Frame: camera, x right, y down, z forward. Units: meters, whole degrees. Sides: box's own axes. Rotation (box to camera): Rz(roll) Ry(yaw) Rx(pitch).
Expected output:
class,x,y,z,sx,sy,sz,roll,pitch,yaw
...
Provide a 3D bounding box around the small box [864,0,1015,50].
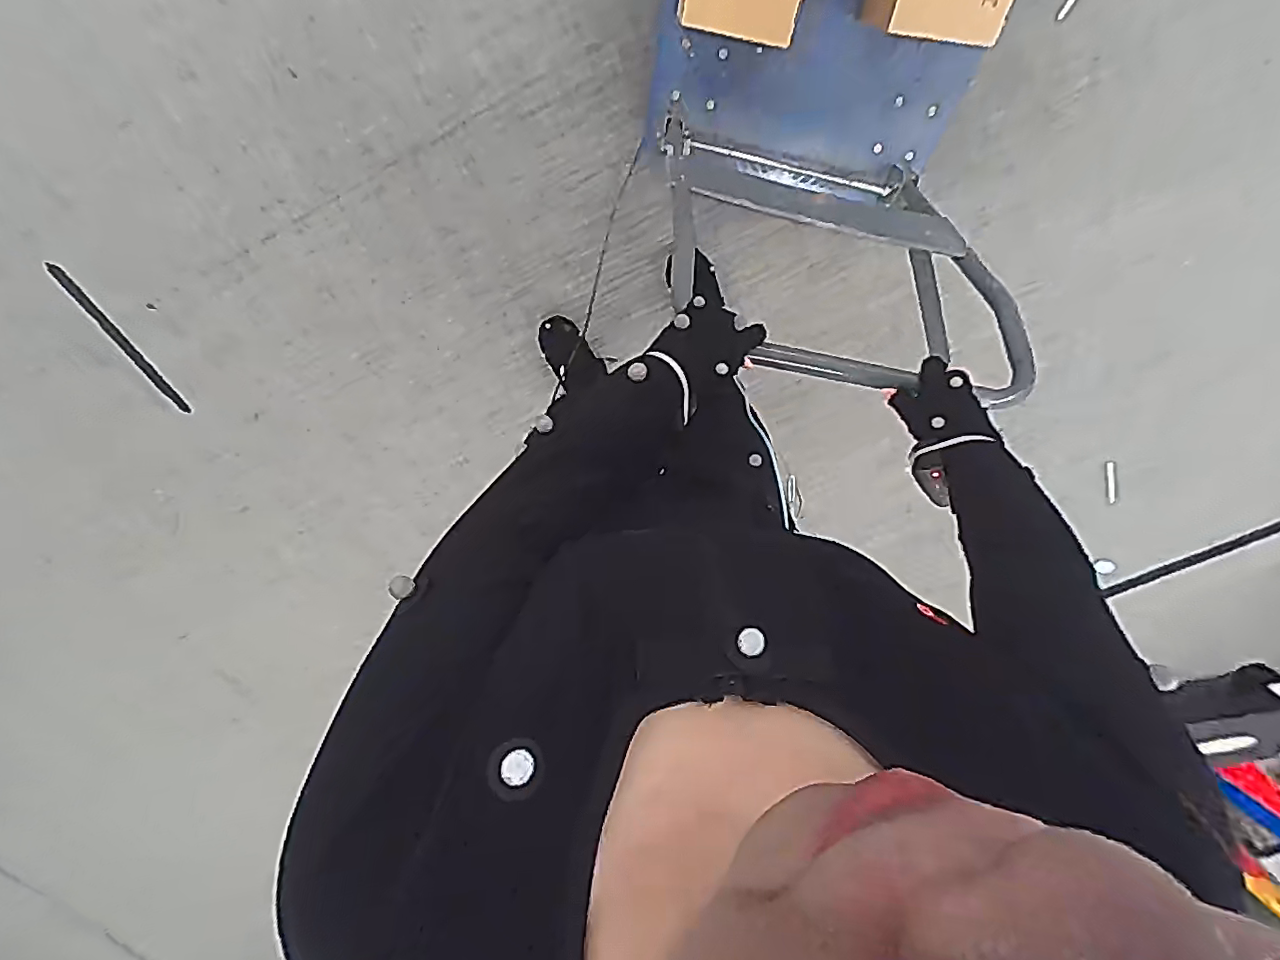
class,x,y,z,sx,sy,sz,roll,pitch,yaw
small box,0.474,-0.790,0.835,0.179,0.176,0.168,6,135,-4

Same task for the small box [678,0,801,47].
class,x,y,z,sx,sy,sz,roll,pitch,yaw
small box,0.161,-0.799,0.836,0.179,0.176,0.168,7,134,-7
